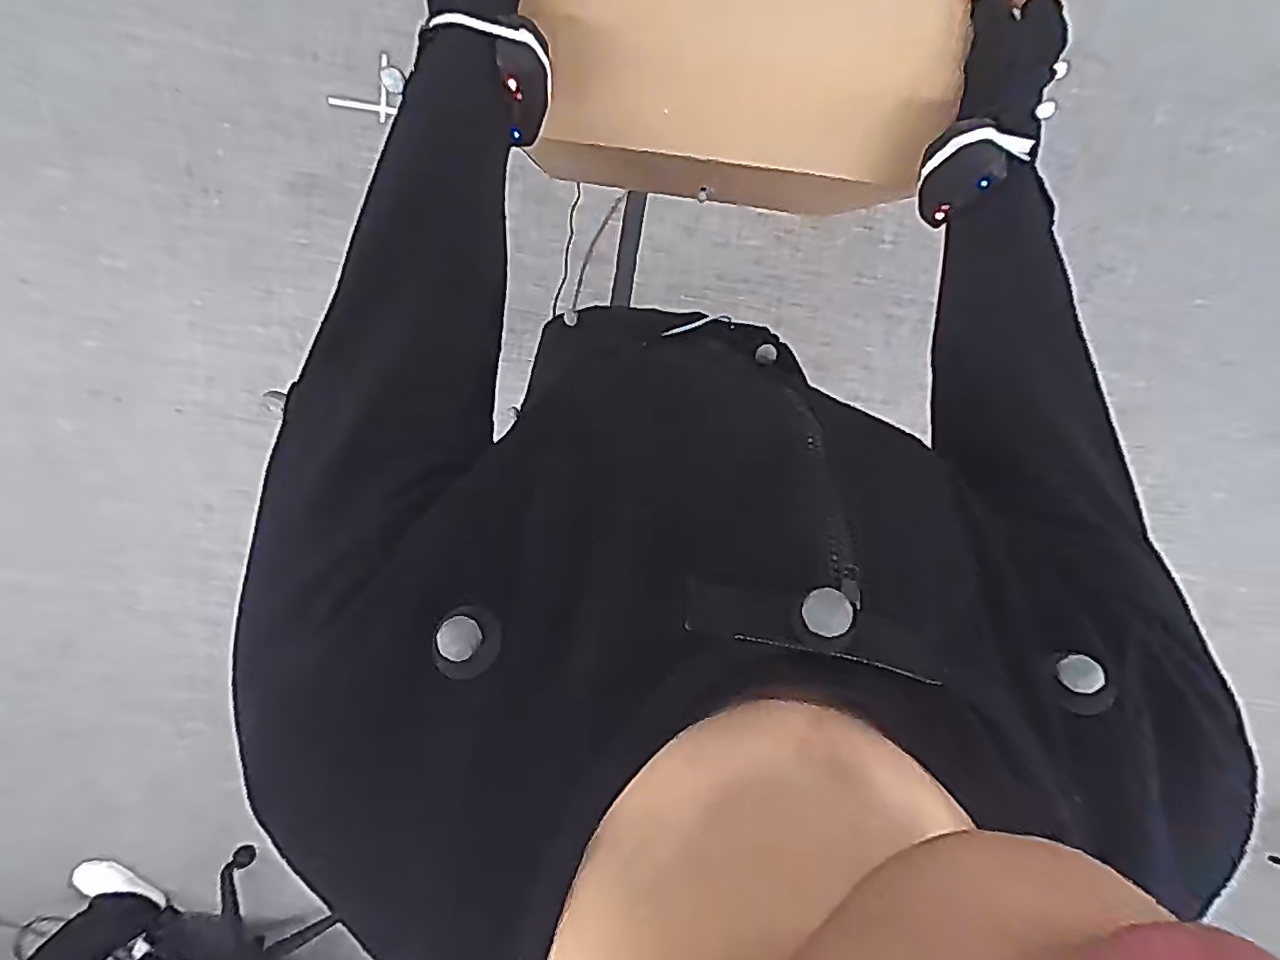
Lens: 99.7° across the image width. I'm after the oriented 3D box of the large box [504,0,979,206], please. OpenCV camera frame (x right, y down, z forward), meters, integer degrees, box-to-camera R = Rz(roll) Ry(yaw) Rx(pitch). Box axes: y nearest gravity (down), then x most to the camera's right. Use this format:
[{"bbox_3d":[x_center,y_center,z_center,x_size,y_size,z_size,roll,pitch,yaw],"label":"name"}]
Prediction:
[{"bbox_3d":[0.093,-0.495,0.577,0.408,0.320,0.320,7,111,-3],"label":"large box"}]
